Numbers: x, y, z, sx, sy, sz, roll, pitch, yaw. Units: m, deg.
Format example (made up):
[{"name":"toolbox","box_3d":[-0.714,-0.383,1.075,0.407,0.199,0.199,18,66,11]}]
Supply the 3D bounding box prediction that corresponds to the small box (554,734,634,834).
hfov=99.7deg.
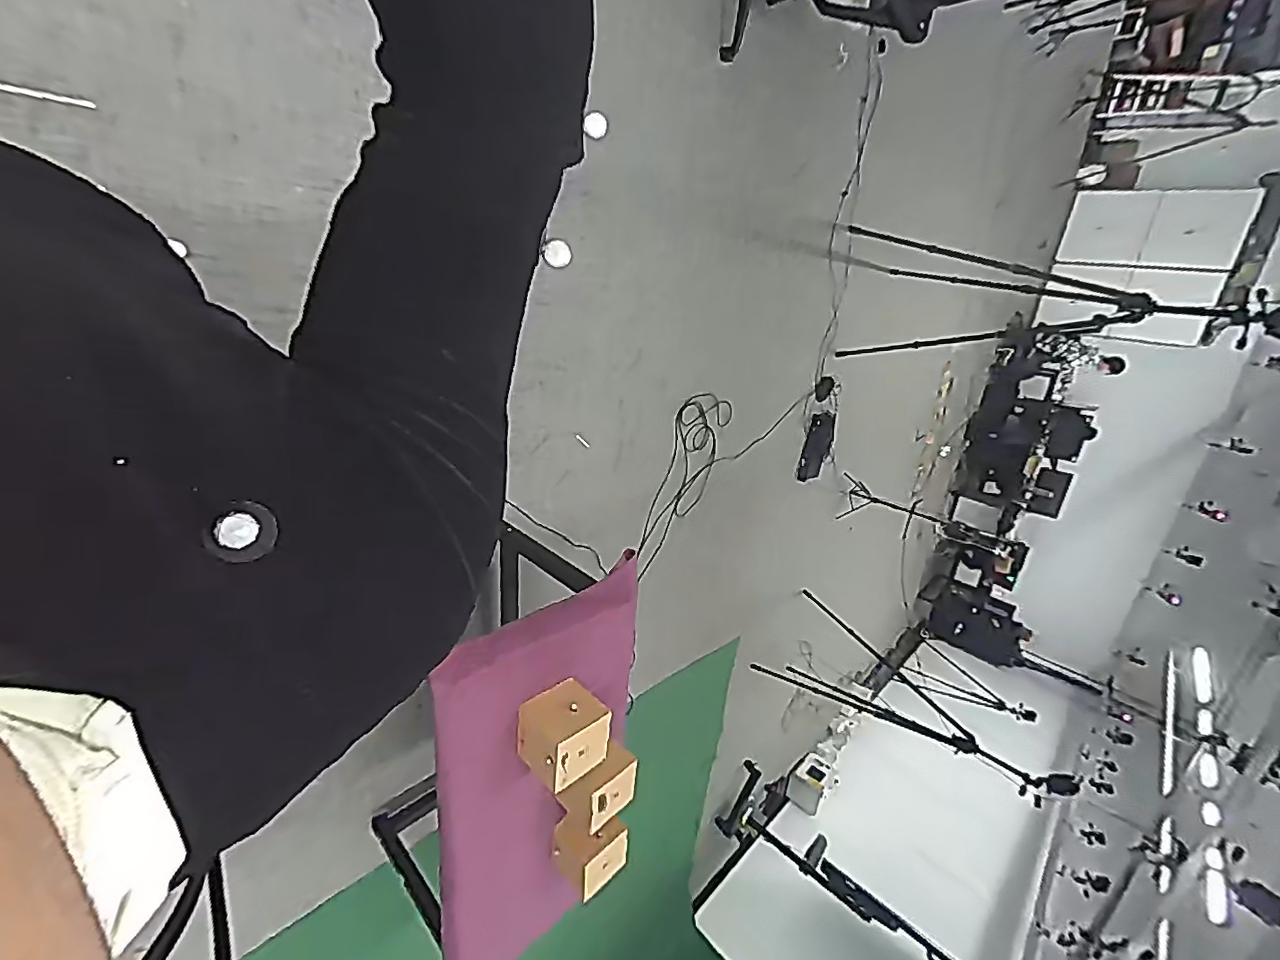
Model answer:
[{"name":"small box","box_3d":[-0.141,0.883,1.602,0.179,0.176,0.168,-17,120,-44]}]

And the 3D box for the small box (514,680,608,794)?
[{"name":"small box","box_3d":[-0.208,0.662,1.418,0.179,0.176,0.168,-15,119,-45]}]

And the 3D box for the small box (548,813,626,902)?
[{"name":"small box","box_3d":[-0.168,1.150,1.700,0.179,0.176,0.168,-17,119,-43]}]
